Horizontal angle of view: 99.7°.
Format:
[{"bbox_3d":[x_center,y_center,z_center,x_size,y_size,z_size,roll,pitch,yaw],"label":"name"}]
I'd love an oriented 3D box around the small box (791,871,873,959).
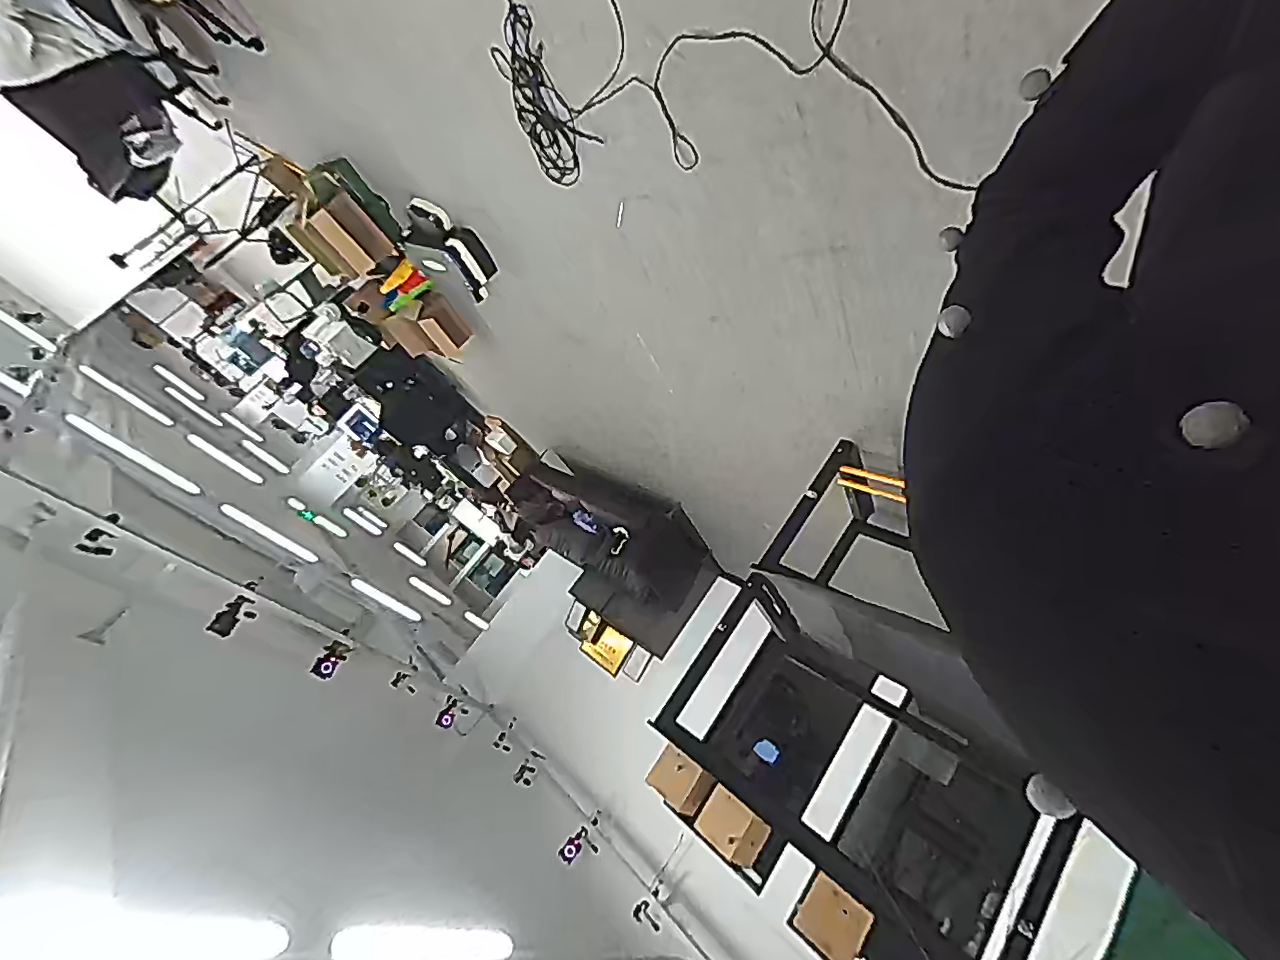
[{"bbox_3d":[0.561,1.274,1.568,0.168,0.176,0.179,26,160,36],"label":"small box"}]
